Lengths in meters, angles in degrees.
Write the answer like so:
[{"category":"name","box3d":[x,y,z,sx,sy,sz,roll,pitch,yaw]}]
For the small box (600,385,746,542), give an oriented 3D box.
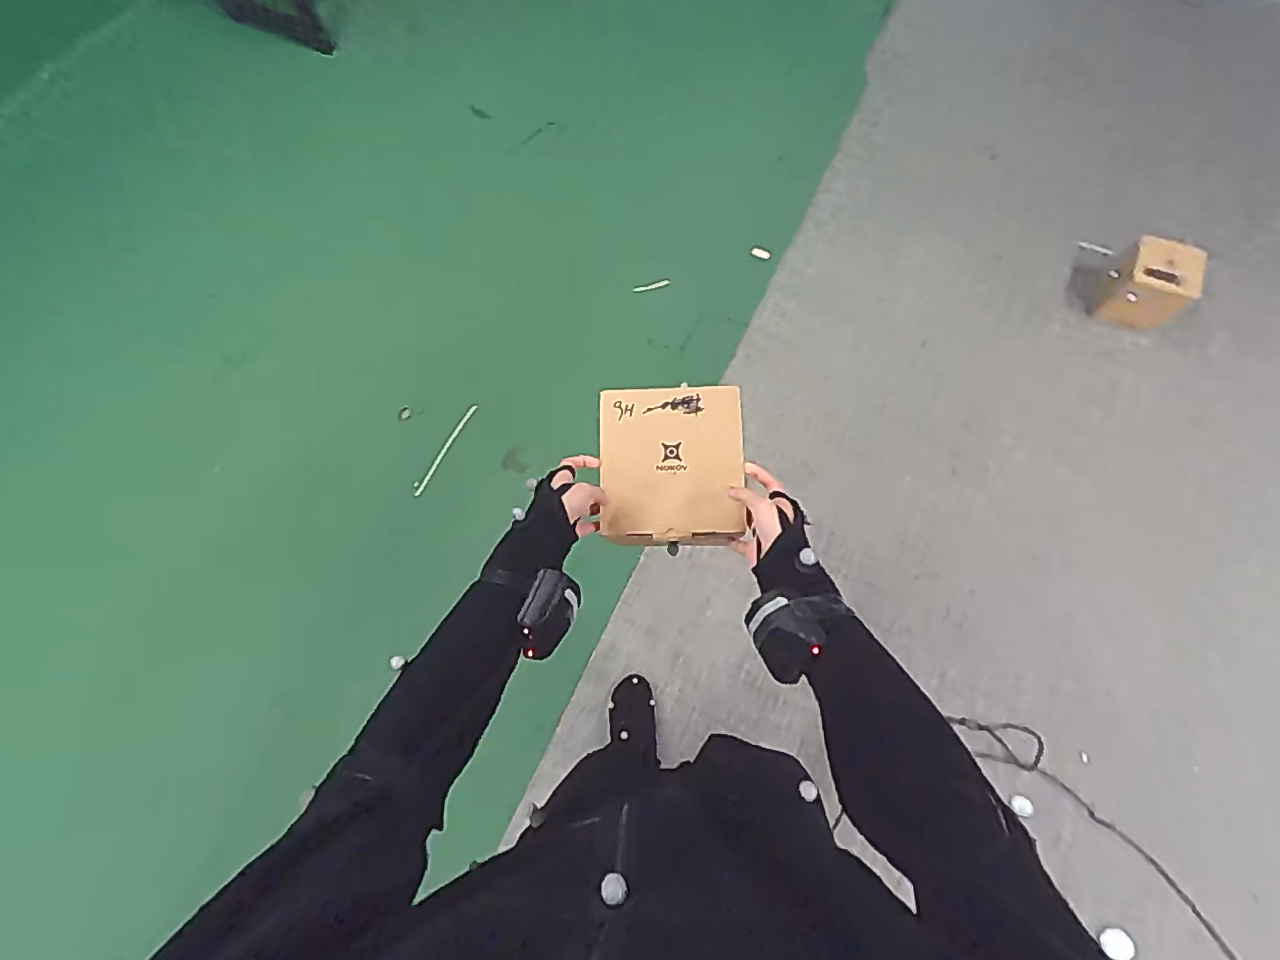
[{"category":"small box","box3d":[0.044,-0.011,0.691,0.168,0.176,0.179,0,80,4]}]
